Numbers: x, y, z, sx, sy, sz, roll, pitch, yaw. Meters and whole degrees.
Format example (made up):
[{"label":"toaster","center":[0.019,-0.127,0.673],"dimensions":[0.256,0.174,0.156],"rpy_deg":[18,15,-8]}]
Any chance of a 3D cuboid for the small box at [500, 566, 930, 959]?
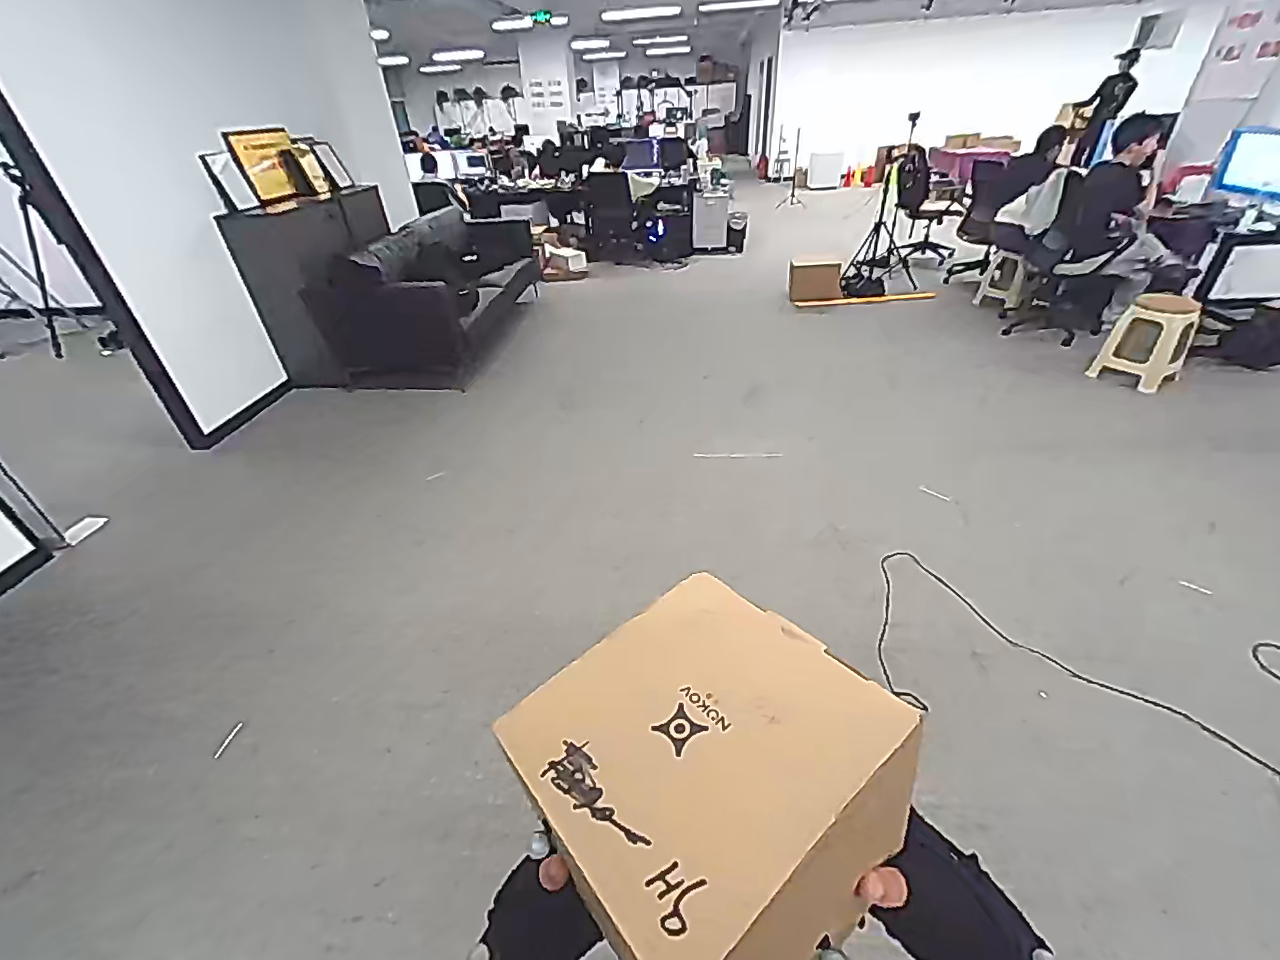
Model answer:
[{"label":"small box","center":[0.045,0.193,0.335],"dimensions":[0.179,0.176,0.168],"rpy_deg":[-30,36,-27]}]
